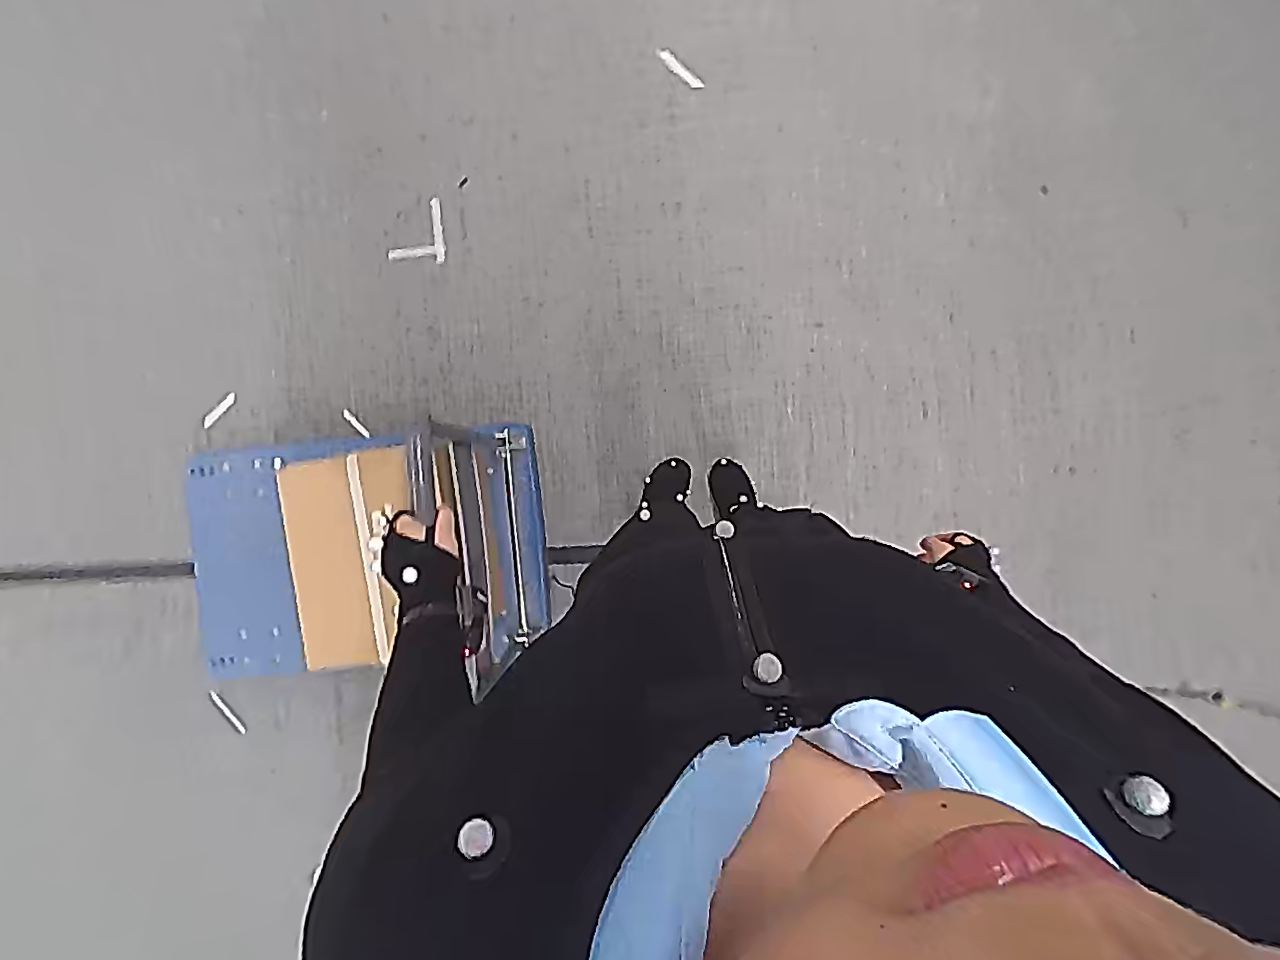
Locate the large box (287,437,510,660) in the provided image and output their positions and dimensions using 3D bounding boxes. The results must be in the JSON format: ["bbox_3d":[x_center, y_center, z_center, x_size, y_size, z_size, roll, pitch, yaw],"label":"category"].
[{"bbox_3d":[-0.505,0.135,1.200,0.320,0.320,0.408,-8,90,1],"label":"large box"}]
